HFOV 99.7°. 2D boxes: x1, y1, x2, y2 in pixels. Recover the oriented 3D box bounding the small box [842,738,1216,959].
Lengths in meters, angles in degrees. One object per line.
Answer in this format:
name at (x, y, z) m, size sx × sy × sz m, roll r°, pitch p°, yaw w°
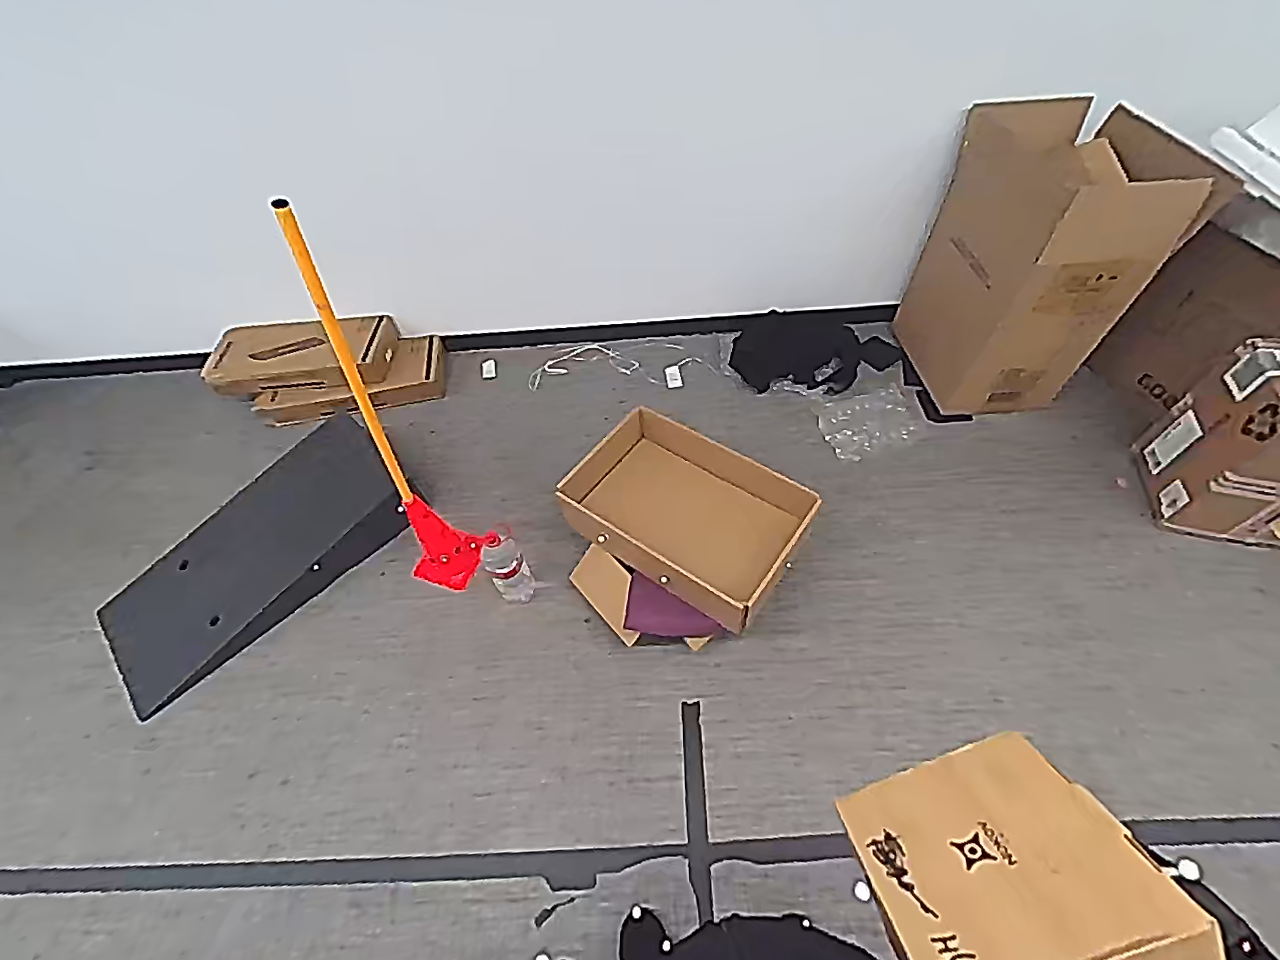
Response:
small box at (0.296, 0.355, 0.431) m, size 0.179 × 0.176 × 0.168 m, roll -23°, pitch 13°, yaw 3°
